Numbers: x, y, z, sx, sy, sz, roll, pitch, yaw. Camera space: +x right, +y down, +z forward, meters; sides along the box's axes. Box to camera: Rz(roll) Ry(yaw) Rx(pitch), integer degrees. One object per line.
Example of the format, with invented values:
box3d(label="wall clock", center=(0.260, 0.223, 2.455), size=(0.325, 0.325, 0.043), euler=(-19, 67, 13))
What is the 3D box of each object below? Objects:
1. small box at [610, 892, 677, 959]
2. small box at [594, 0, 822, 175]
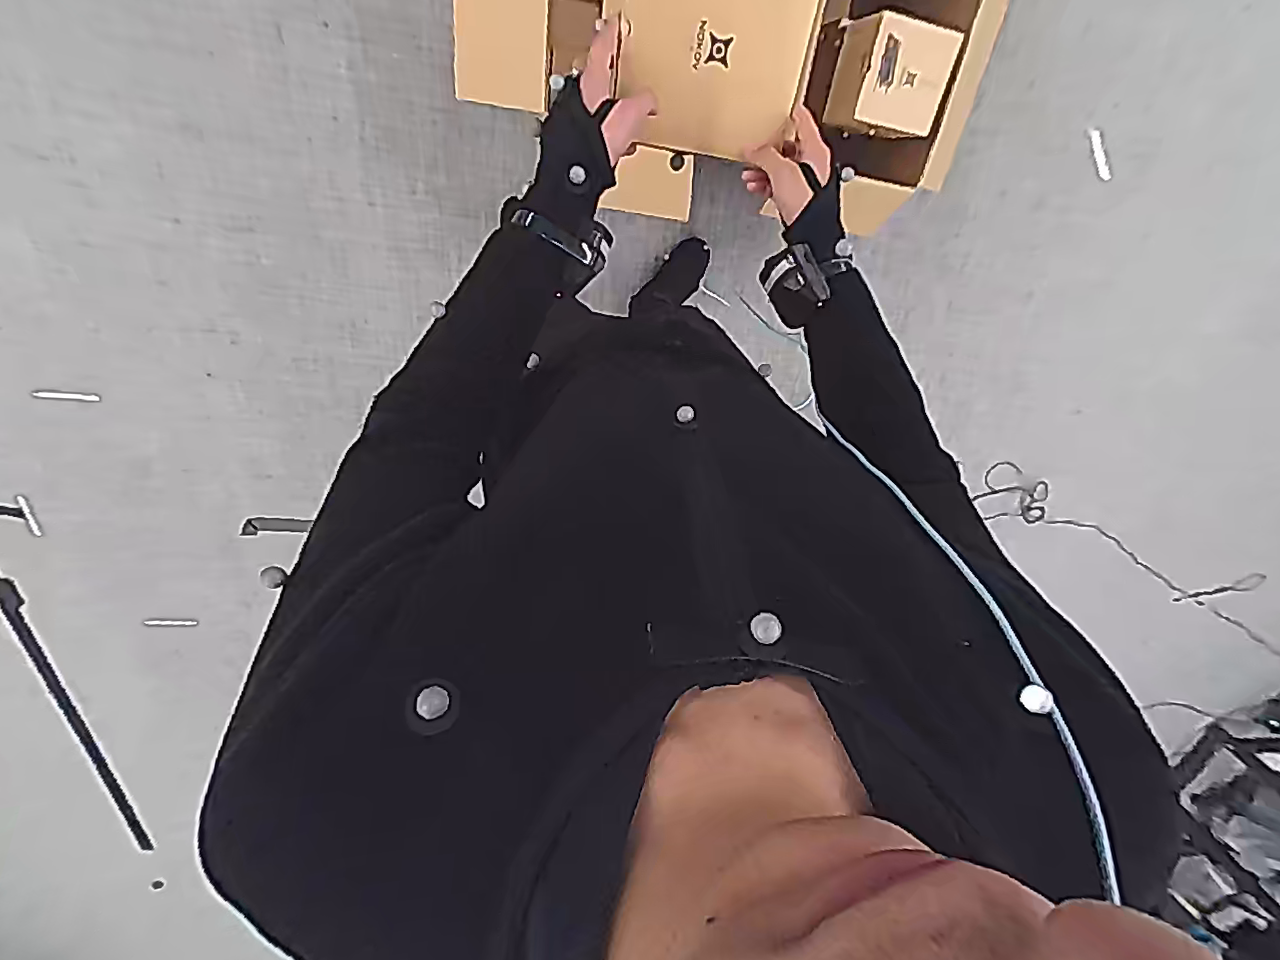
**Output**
box3d(label="small box", center=(0.003, 1.328, 1.569), size=(0.168, 0.176, 0.179), euler=(2, 119, -8))
box3d(label="small box", center=(0.054, -0.424, 0.549), size=(0.179, 0.176, 0.168), euler=(3, 123, -12))
